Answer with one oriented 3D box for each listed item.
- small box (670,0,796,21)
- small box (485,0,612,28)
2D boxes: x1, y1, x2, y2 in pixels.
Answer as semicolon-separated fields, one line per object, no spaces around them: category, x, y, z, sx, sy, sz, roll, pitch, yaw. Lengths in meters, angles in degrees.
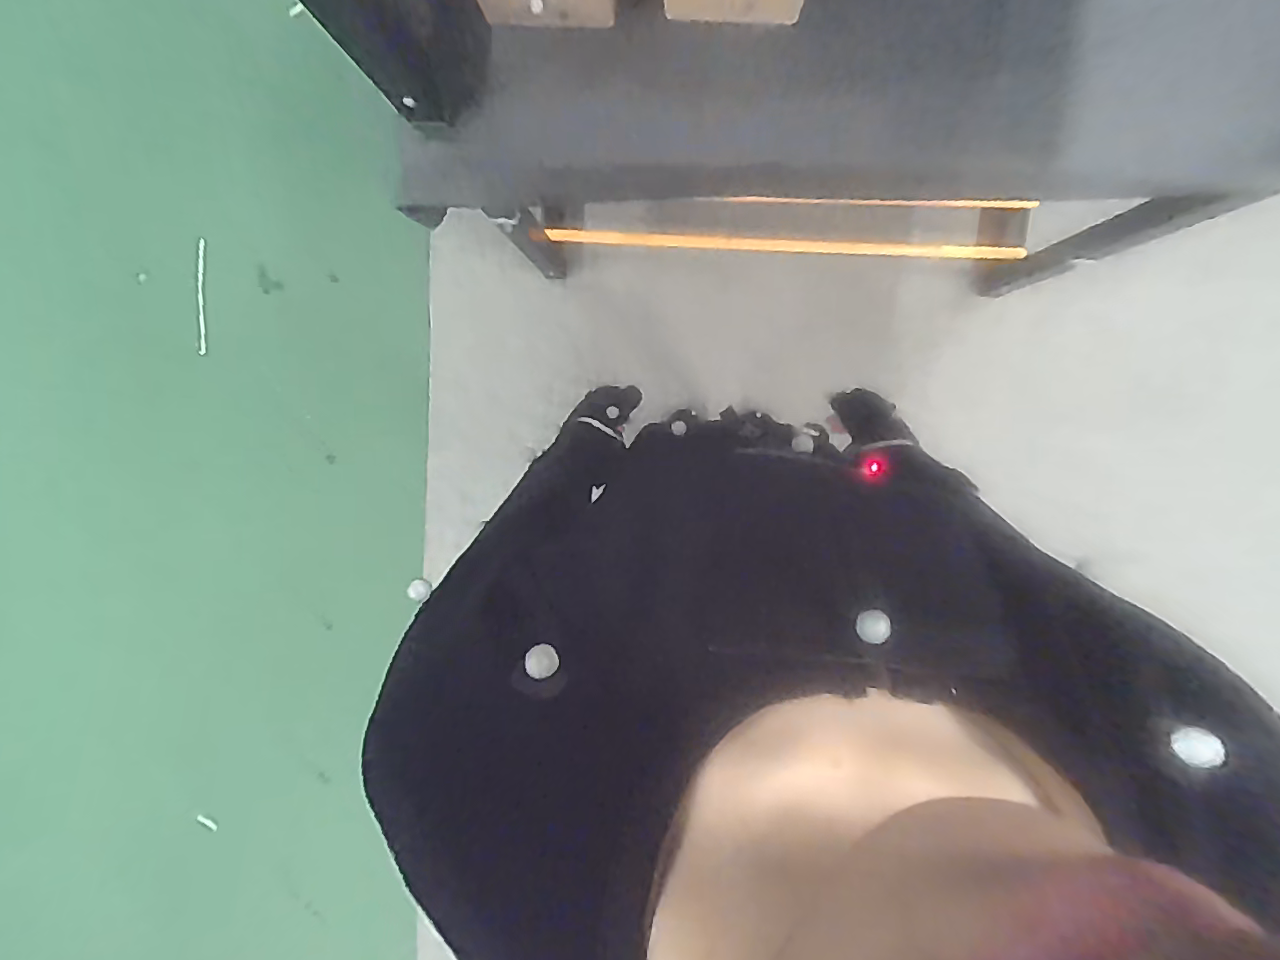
small box;0.111;-0.655;0.593;0.168;0.176;0.179;5;96;3
small box;-0.116;-0.662;0.604;0.168;0.176;0.179;4;97;3
